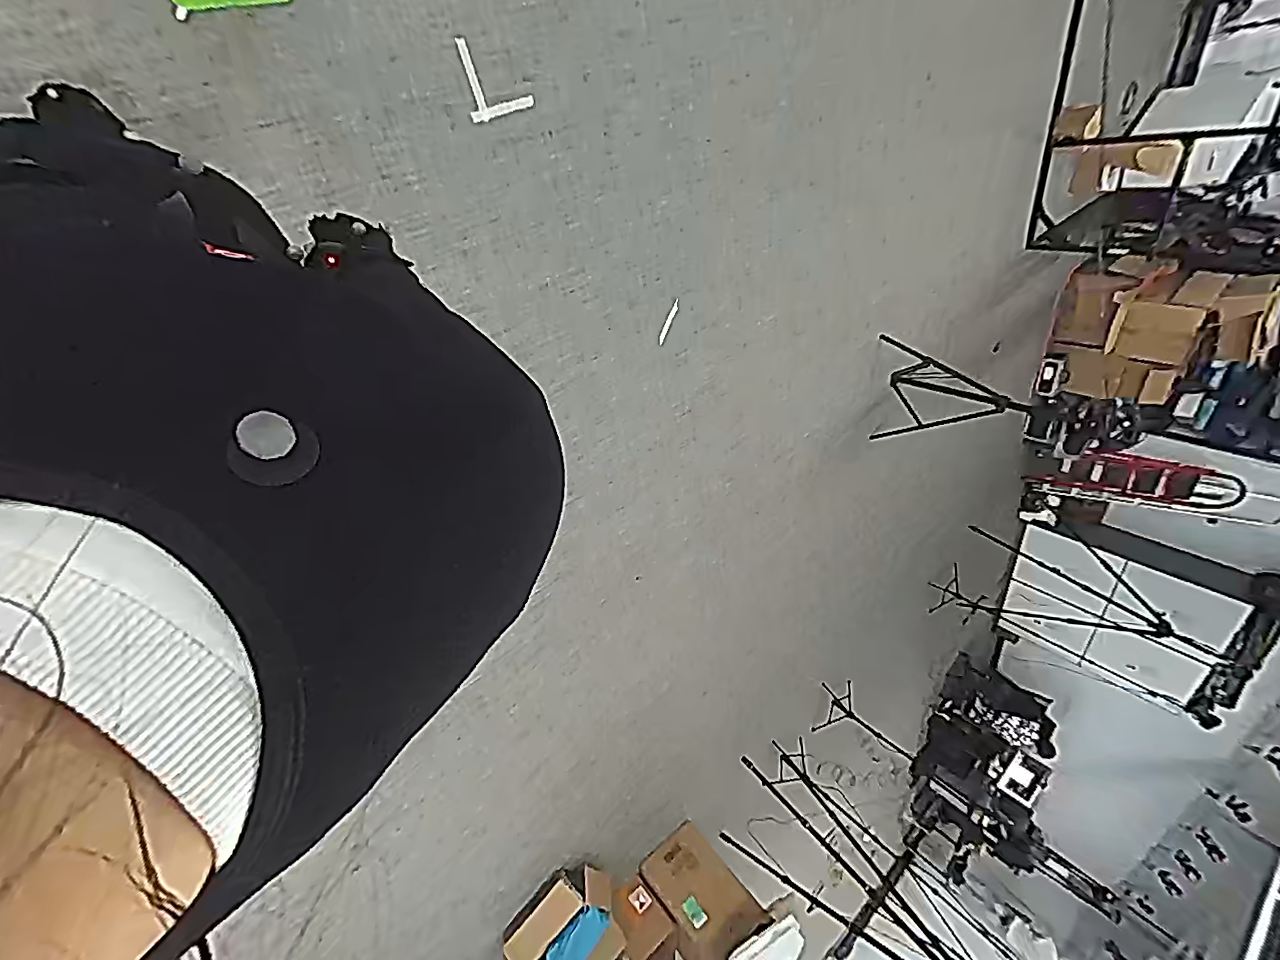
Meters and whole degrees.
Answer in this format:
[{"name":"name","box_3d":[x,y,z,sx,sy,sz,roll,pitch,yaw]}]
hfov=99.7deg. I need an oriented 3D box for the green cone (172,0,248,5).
[{"name":"green cone","box_3d":[-0.632,-0.872,0.787,0.202,0.368,0.200,-33,129,-27]}]
